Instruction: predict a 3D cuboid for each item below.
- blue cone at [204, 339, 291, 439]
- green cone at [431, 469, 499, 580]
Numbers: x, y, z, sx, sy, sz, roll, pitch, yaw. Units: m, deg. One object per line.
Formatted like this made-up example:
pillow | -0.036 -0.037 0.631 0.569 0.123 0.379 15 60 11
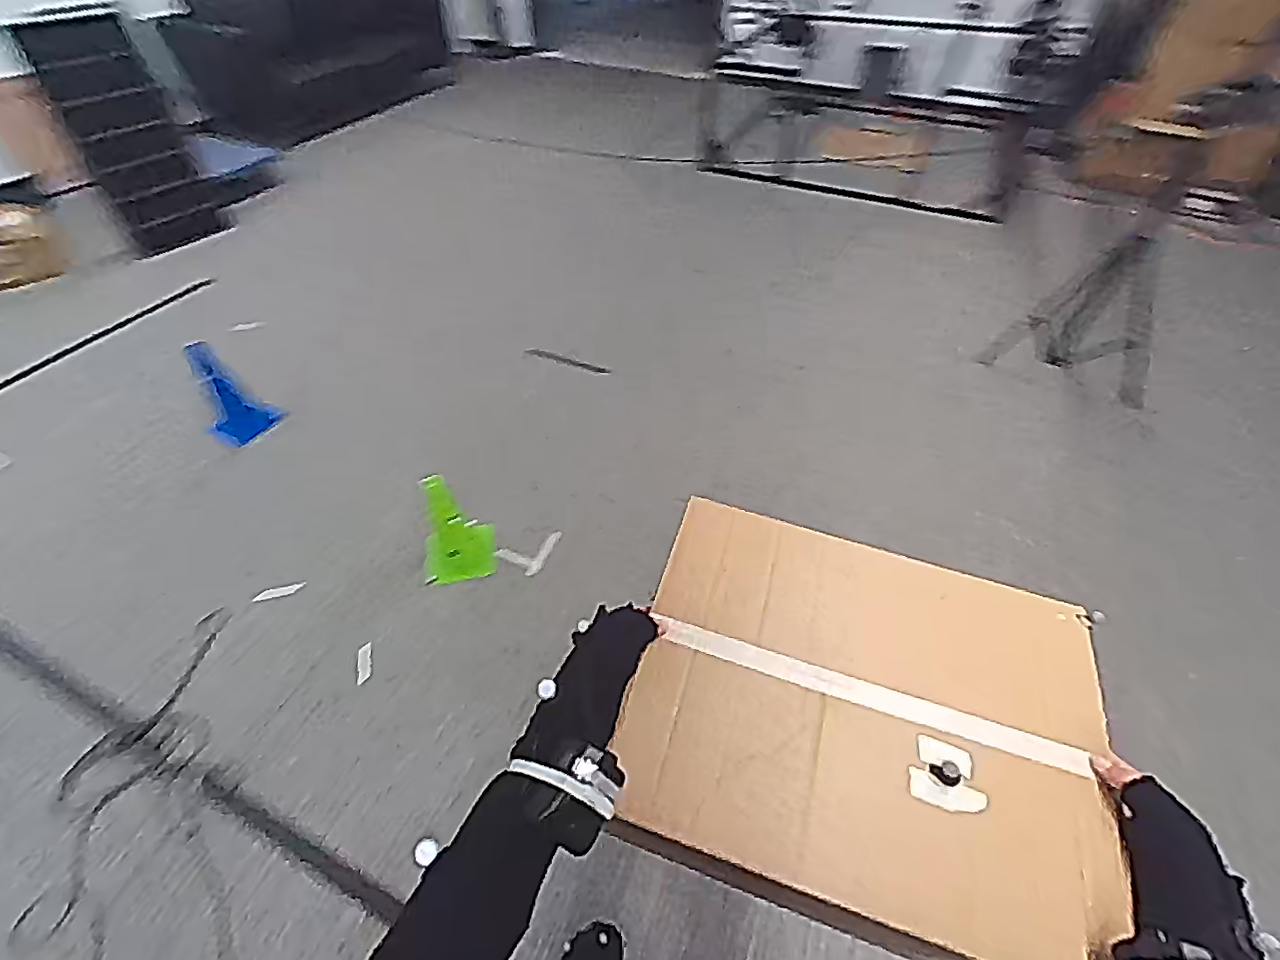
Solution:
blue cone | -1.511 -0.350 2.014 0.193 0.380 0.192 22 51 17
green cone | -0.556 0.109 1.615 0.200 0.368 0.202 -9 48 -10
